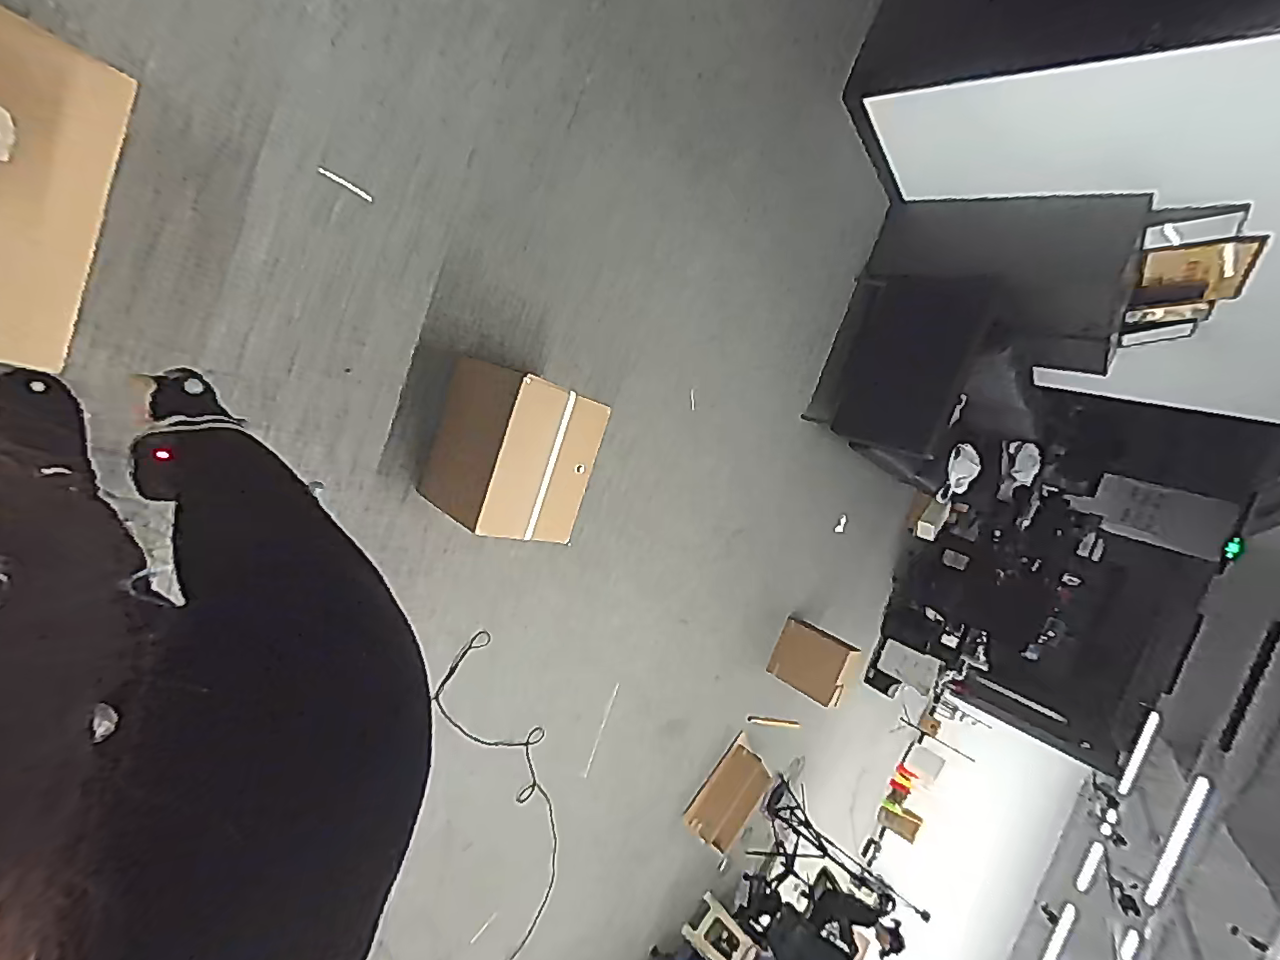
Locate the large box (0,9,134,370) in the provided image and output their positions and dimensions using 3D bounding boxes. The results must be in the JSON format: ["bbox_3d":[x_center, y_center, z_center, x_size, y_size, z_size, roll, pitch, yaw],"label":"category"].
[{"bbox_3d":[-0.920,-0.396,0.705,0.320,0.320,0.408,14,96,-49],"label":"large box"}]
